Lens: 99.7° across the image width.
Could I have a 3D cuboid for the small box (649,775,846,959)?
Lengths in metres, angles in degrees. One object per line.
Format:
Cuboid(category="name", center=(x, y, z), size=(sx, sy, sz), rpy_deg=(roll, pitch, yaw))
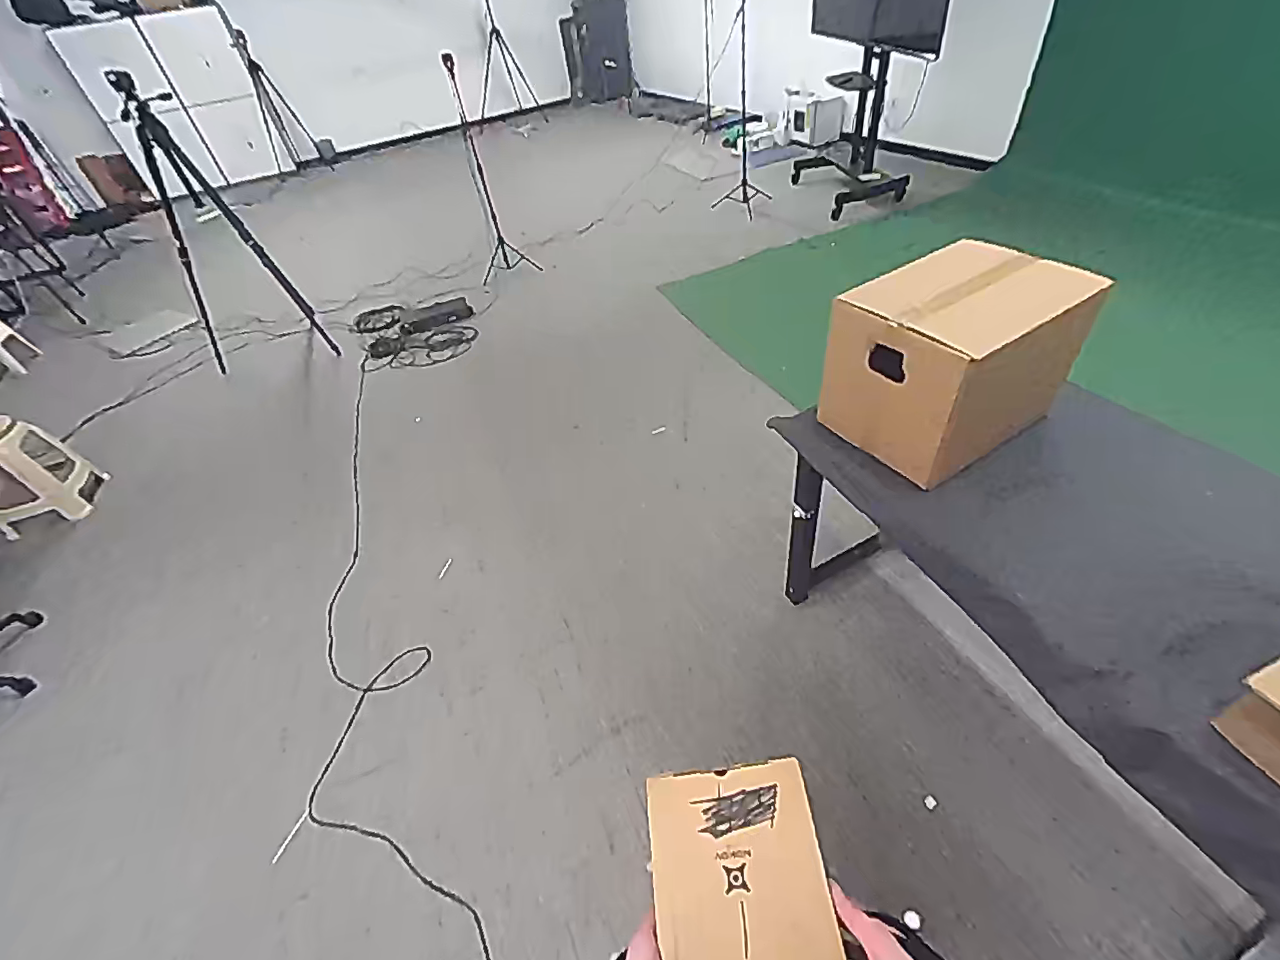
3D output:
Cuboid(category="small box", center=(0.109, 0.428, 0.564), size=(0.168, 0.176, 0.179), rpy_deg=(-11, 50, 8))
